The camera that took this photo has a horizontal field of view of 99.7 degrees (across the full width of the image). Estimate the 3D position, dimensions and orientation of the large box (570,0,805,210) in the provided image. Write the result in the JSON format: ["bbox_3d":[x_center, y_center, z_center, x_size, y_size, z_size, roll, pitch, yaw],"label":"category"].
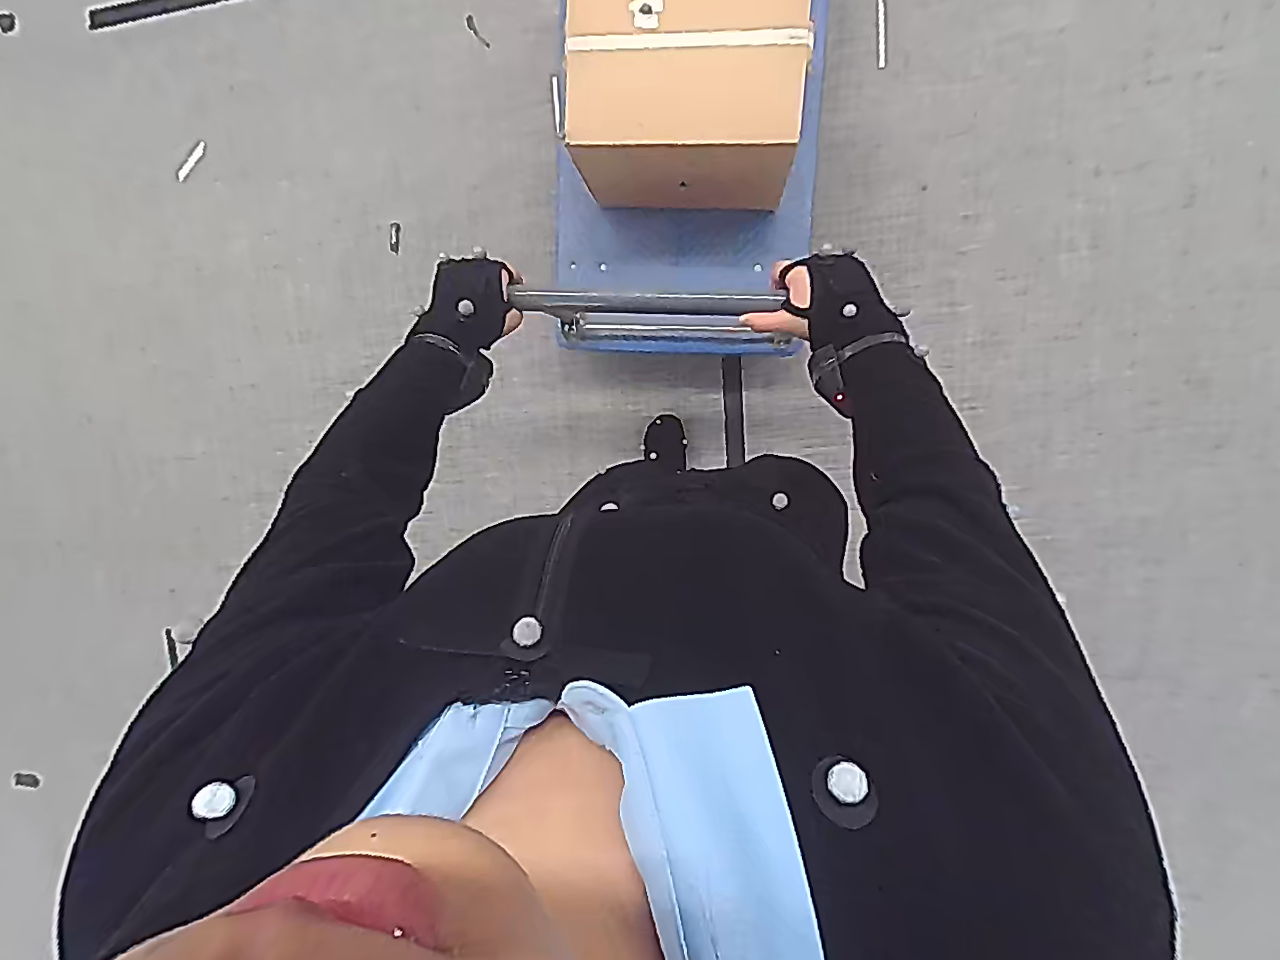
[{"bbox_3d":[0.096,-0.749,1.071,0.408,0.320,0.320,3,97,8],"label":"large box"}]
